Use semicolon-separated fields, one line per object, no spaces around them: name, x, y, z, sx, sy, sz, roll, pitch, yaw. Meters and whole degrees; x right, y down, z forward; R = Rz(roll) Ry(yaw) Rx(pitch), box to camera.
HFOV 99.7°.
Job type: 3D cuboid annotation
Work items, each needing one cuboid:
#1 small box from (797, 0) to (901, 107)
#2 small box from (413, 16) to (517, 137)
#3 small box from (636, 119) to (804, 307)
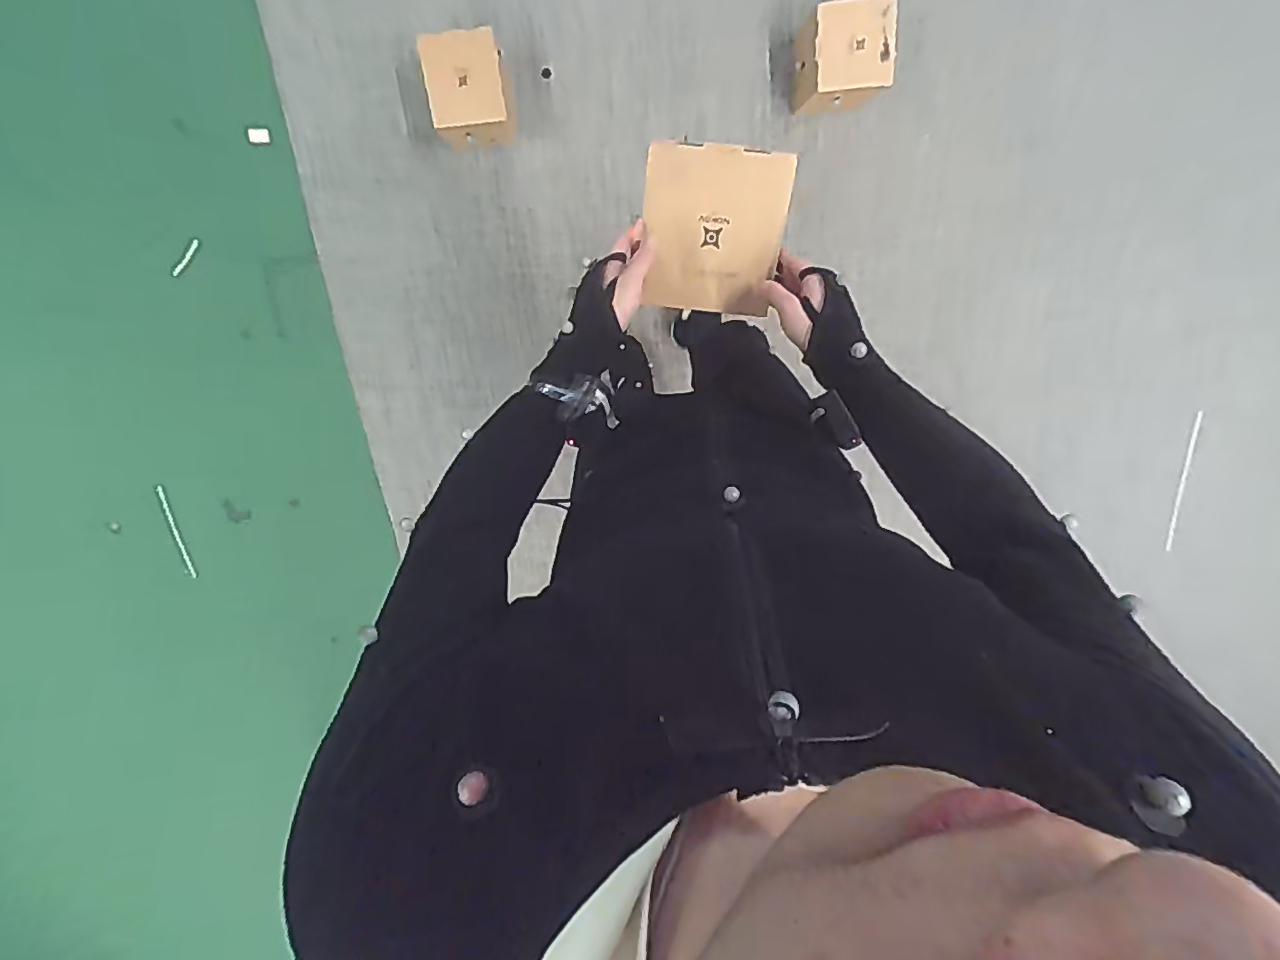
small box;0.464;-0.973;1.228;0.179;0.176;0.168;-6;110;0
small box;-0.384;-0.895;1.220;0.168;0.176;0.179;-7;109;0
small box;0.086;-0.328;0.674;0.168;0.176;0.179;6;118;-1
